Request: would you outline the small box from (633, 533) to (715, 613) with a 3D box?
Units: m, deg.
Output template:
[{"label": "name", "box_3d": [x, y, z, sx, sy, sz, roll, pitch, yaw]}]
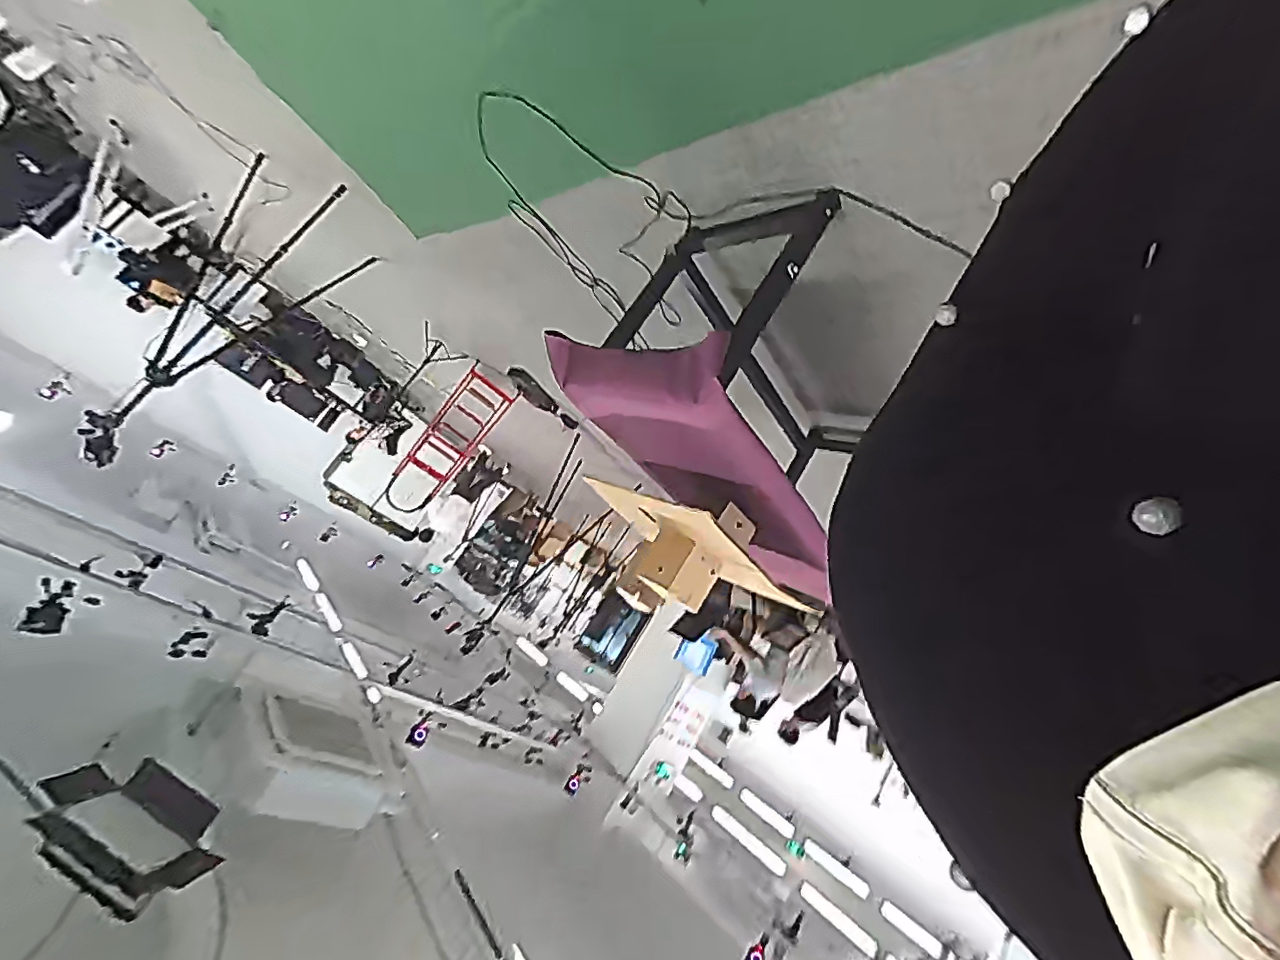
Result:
[{"label": "small box", "box_3d": [0.116, 0.288, 1.715, 0.179, 0.176, 0.168, 16, 156, 51]}]
